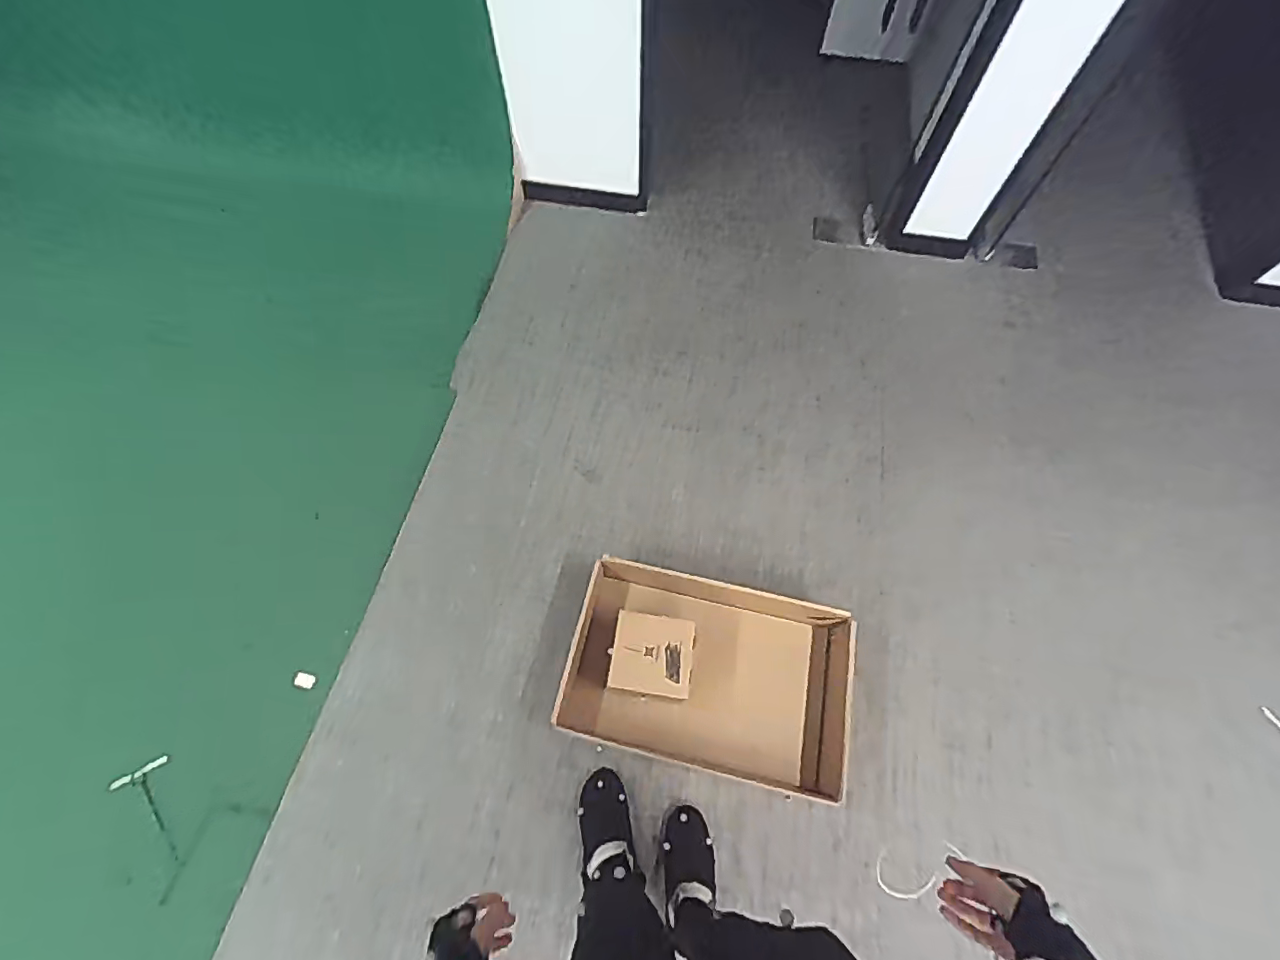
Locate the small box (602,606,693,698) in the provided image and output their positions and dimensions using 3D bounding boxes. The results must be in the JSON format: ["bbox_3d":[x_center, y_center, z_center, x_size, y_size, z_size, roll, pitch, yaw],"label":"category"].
[{"bbox_3d":[0.021,0.400,1.243,0.179,0.176,0.168,8,65,7],"label":"small box"}]
